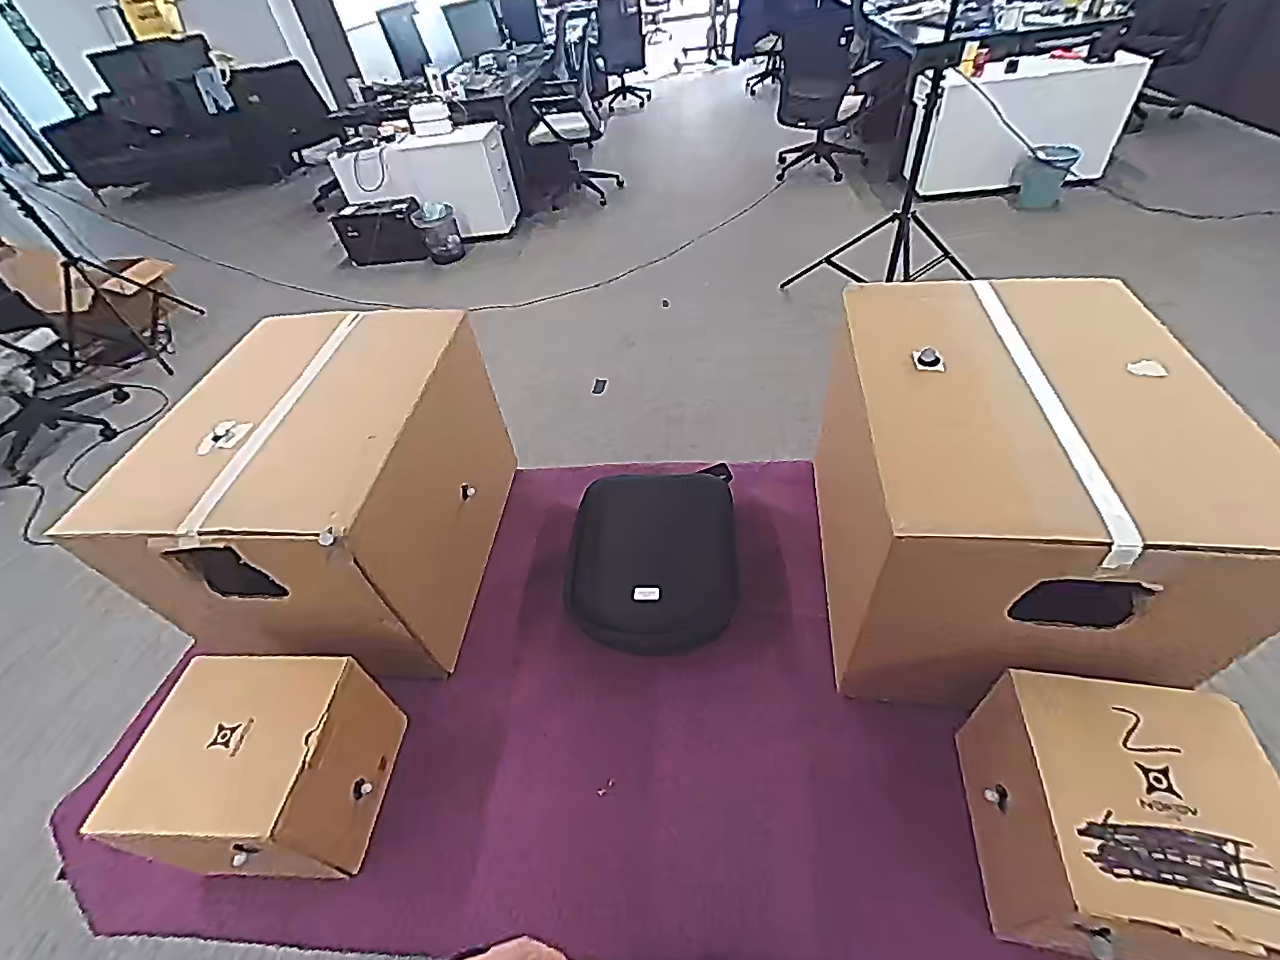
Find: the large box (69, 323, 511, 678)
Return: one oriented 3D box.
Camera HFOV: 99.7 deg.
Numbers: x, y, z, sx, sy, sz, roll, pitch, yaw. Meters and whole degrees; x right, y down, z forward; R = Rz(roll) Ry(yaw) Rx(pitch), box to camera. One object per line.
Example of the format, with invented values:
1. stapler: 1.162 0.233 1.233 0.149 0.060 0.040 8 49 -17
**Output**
1. large box: -0.400 0.023 0.765 0.320 0.320 0.408 -1 48 6
